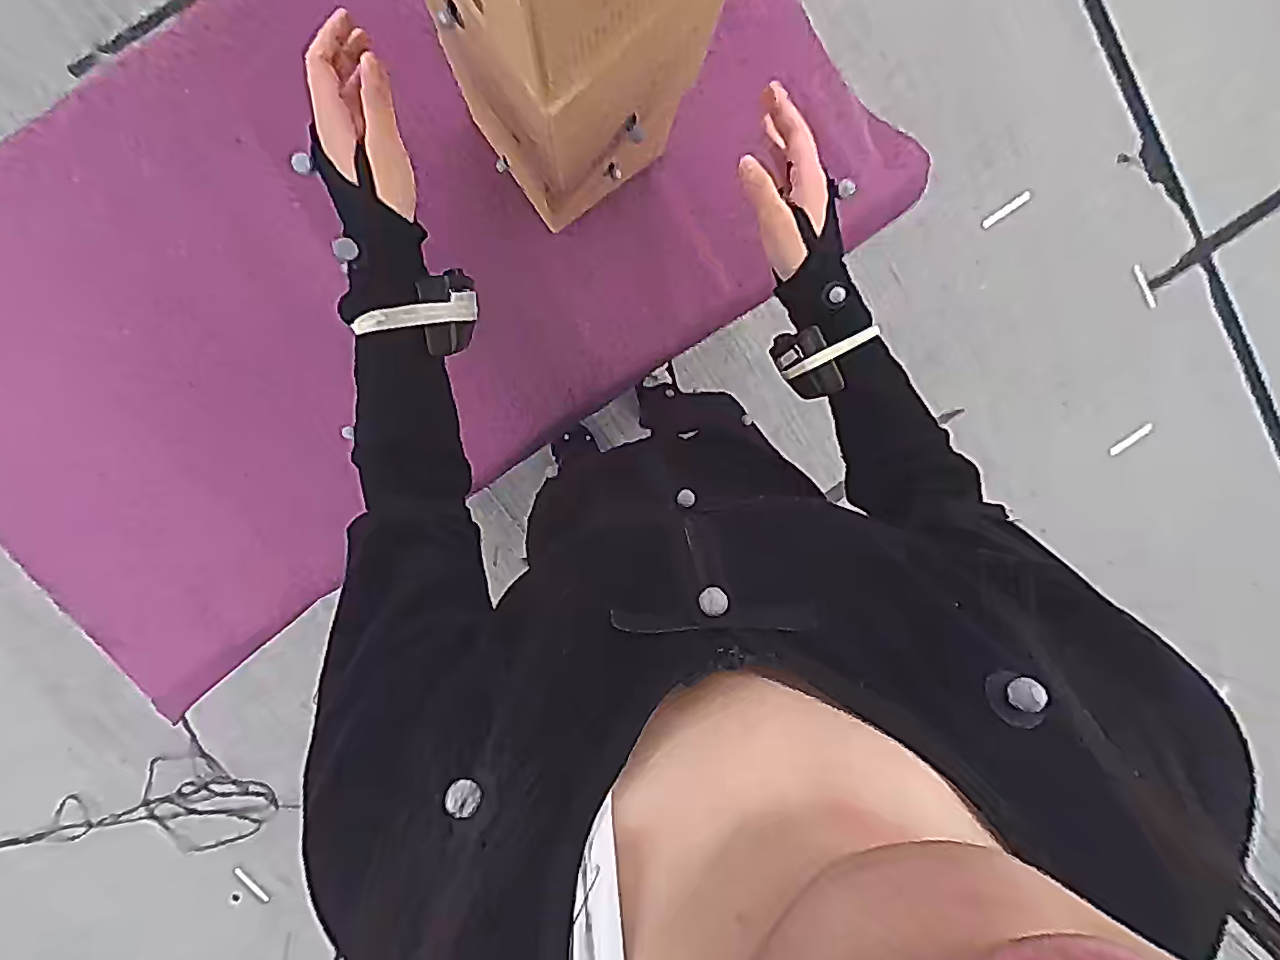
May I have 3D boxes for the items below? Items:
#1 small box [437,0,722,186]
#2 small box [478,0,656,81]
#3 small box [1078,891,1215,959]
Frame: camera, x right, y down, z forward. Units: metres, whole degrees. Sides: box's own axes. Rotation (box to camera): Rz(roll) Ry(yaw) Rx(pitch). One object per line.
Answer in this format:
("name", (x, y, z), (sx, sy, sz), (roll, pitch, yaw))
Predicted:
("small box", (-0.054, -0.384, 0.435), (0.179, 0.176, 0.168), (-39, 101, 2))
("small box", (-0.044, -0.362, 0.273), (0.179, 0.176, 0.168), (-39, 101, 2))
("small box", (1.285, 1.198, 1.385), (0.179, 0.176, 0.168), (11, 98, -10))
